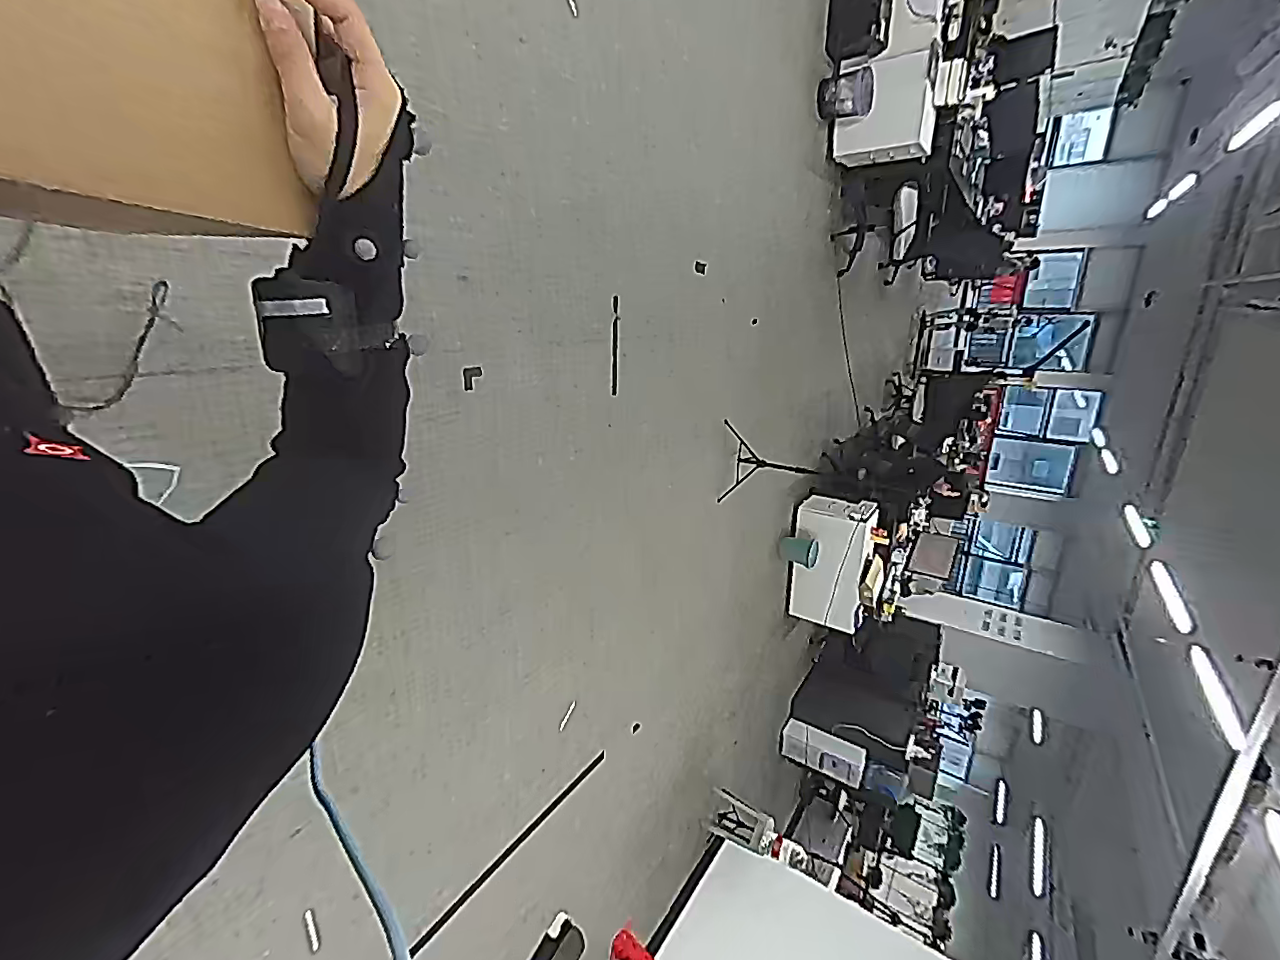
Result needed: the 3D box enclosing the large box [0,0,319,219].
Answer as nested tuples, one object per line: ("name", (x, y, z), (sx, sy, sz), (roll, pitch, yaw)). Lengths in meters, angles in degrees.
("large box", (-0.419, -0.306, 0.208), (0.408, 0.320, 0.320), (-20, 121, -57))
